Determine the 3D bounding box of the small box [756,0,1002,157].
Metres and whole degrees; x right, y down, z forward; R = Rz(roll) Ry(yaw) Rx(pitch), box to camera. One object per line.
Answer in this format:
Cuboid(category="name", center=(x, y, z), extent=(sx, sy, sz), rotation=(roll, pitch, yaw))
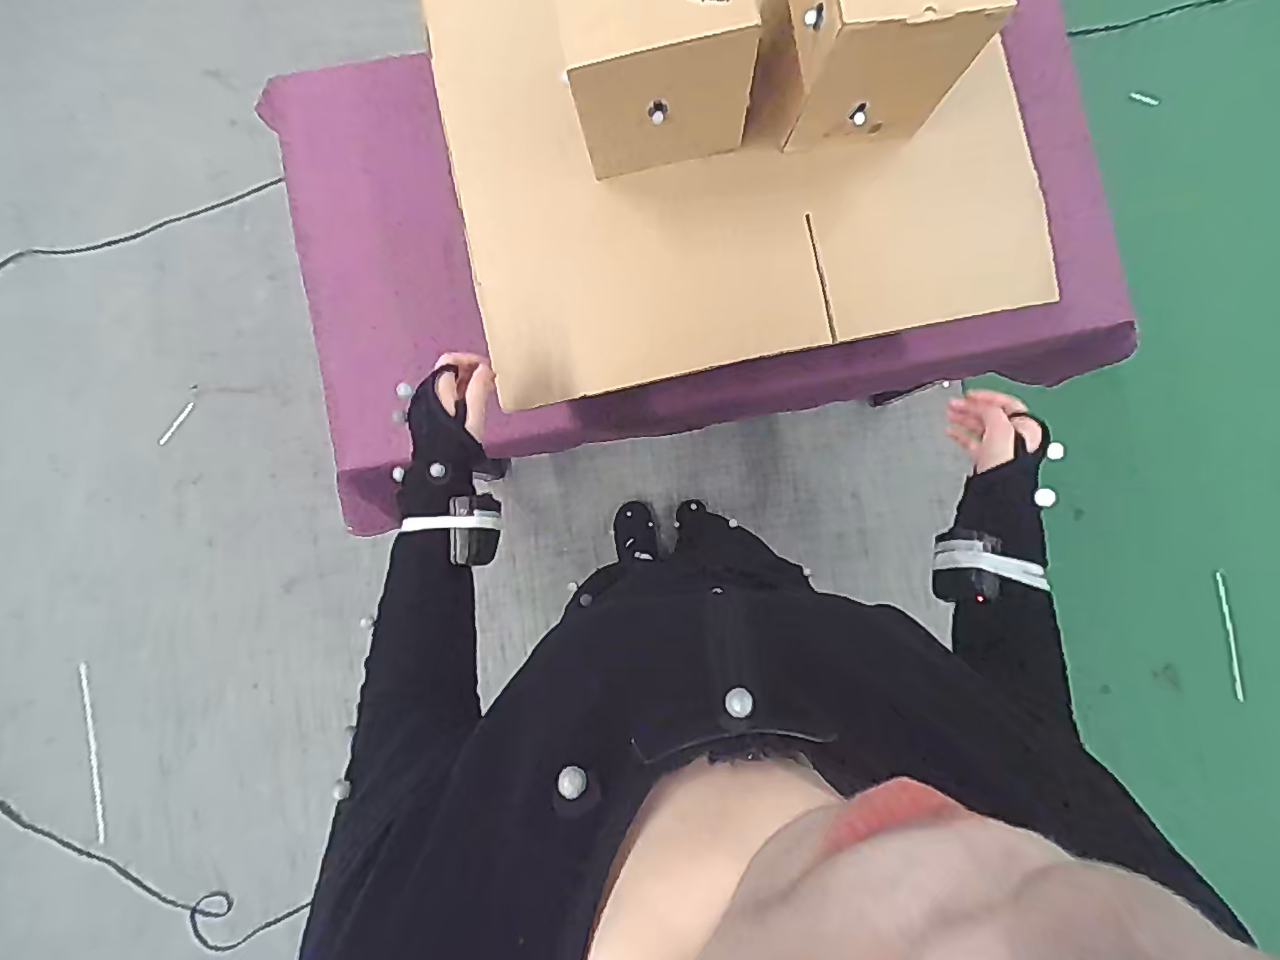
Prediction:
Cuboid(category="small box", center=(0.234, -0.485, 0.574), extent=(0.168, 0.176, 0.179), rotation=(-9, 88, -4))
